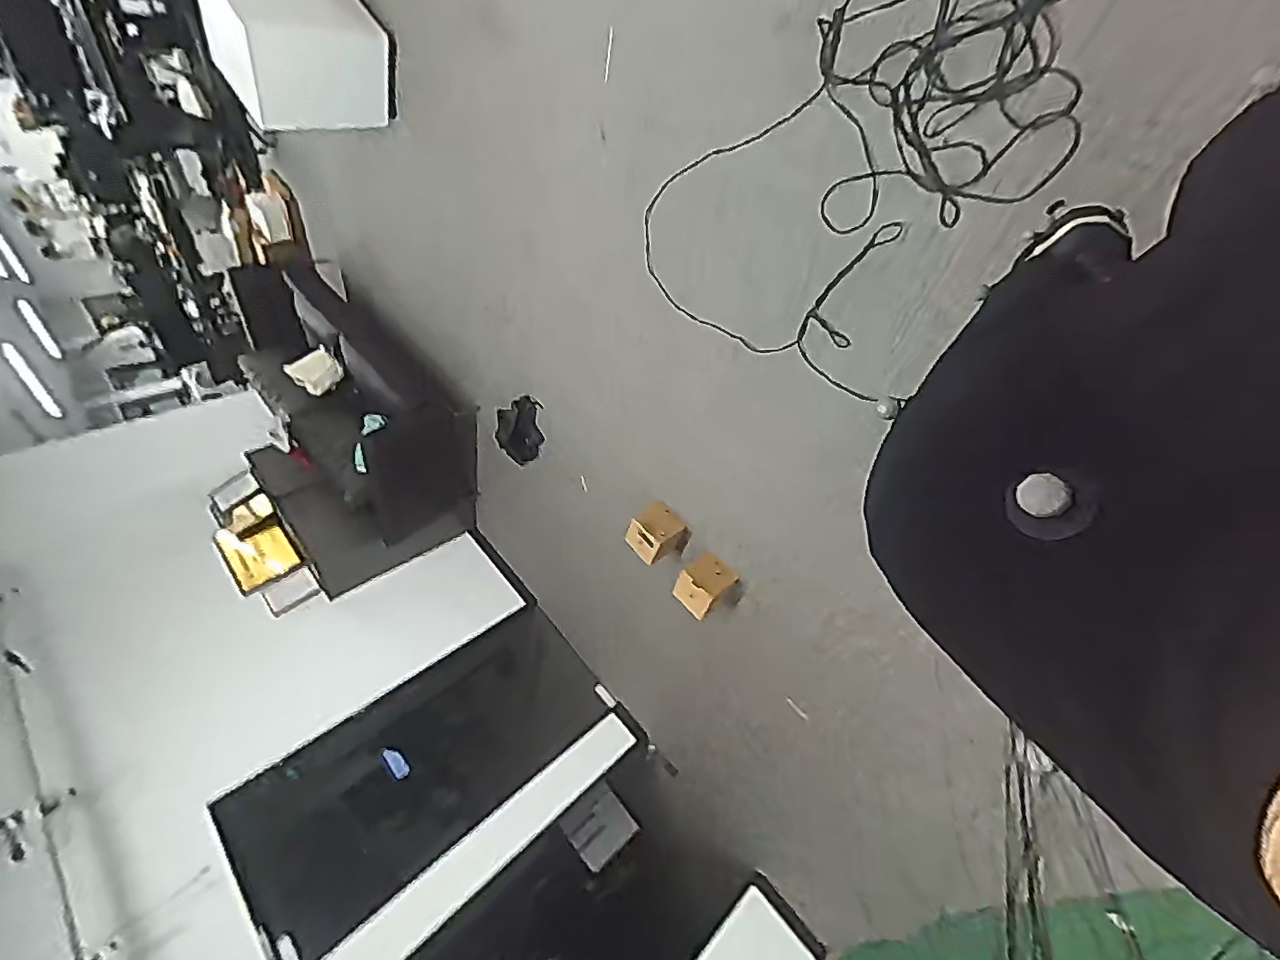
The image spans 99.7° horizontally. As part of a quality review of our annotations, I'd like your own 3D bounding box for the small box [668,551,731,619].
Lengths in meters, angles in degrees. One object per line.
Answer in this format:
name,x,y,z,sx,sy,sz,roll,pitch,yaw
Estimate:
small box,0.244,0.422,2.192,0.168,0.176,0.179,44,140,25
